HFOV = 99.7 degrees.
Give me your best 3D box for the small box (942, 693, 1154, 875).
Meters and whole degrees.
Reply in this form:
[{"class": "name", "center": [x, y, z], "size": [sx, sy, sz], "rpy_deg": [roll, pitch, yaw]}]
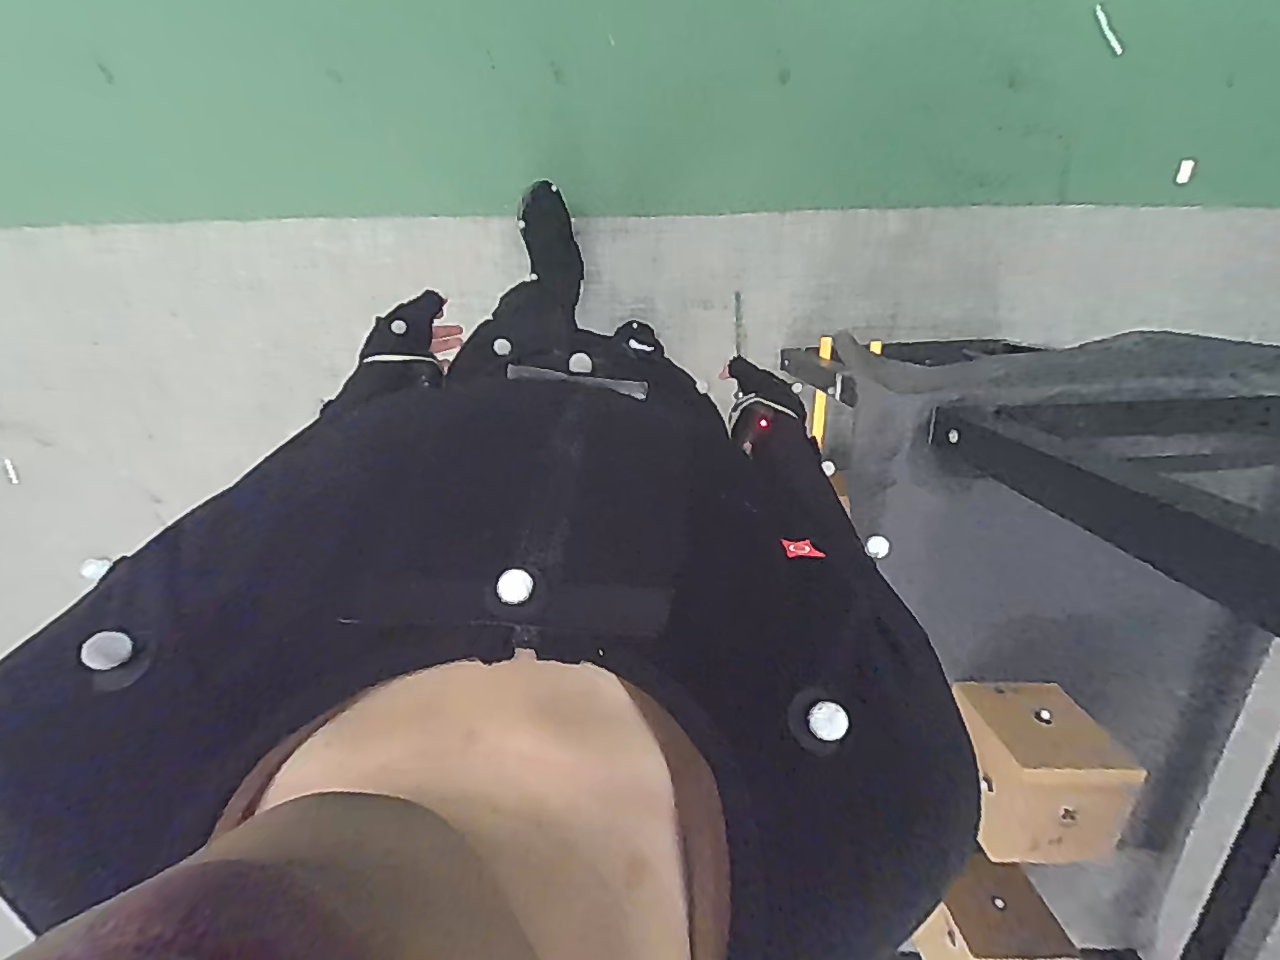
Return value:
[{"class": "small box", "center": [0.576, 0.435, 0.792], "size": [0.168, 0.176, 0.179], "rpy_deg": [1, 109, 0]}]
